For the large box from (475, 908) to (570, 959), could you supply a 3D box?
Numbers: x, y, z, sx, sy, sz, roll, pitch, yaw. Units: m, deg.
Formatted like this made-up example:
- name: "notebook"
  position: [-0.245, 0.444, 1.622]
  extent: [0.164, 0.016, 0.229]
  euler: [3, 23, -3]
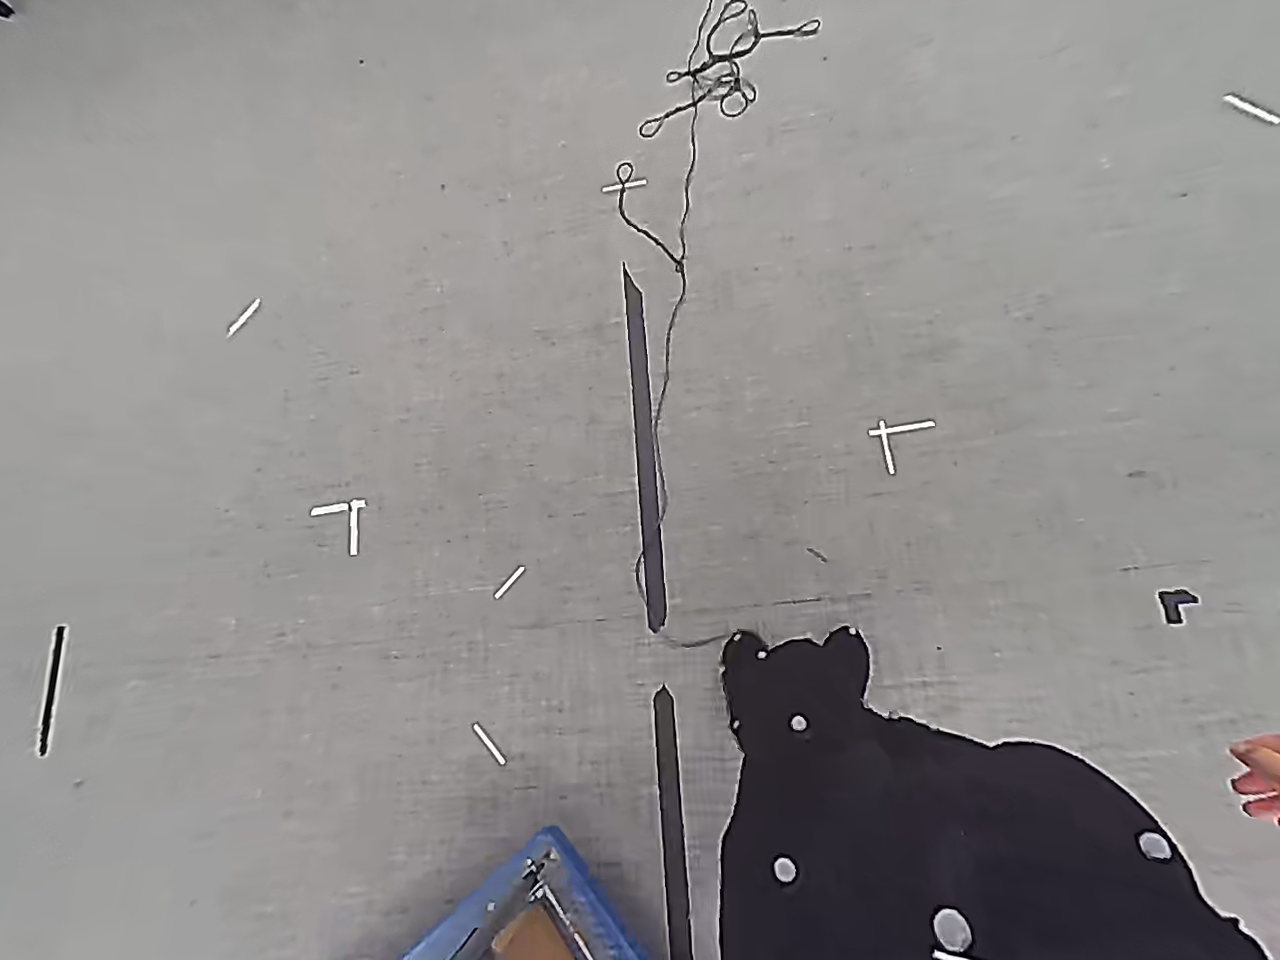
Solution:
- name: "large box"
  position: [-0.222, 1.057, 0.882]
  extent: [0.320, 0.320, 0.408]
  euler: [-41, 72, -2]
